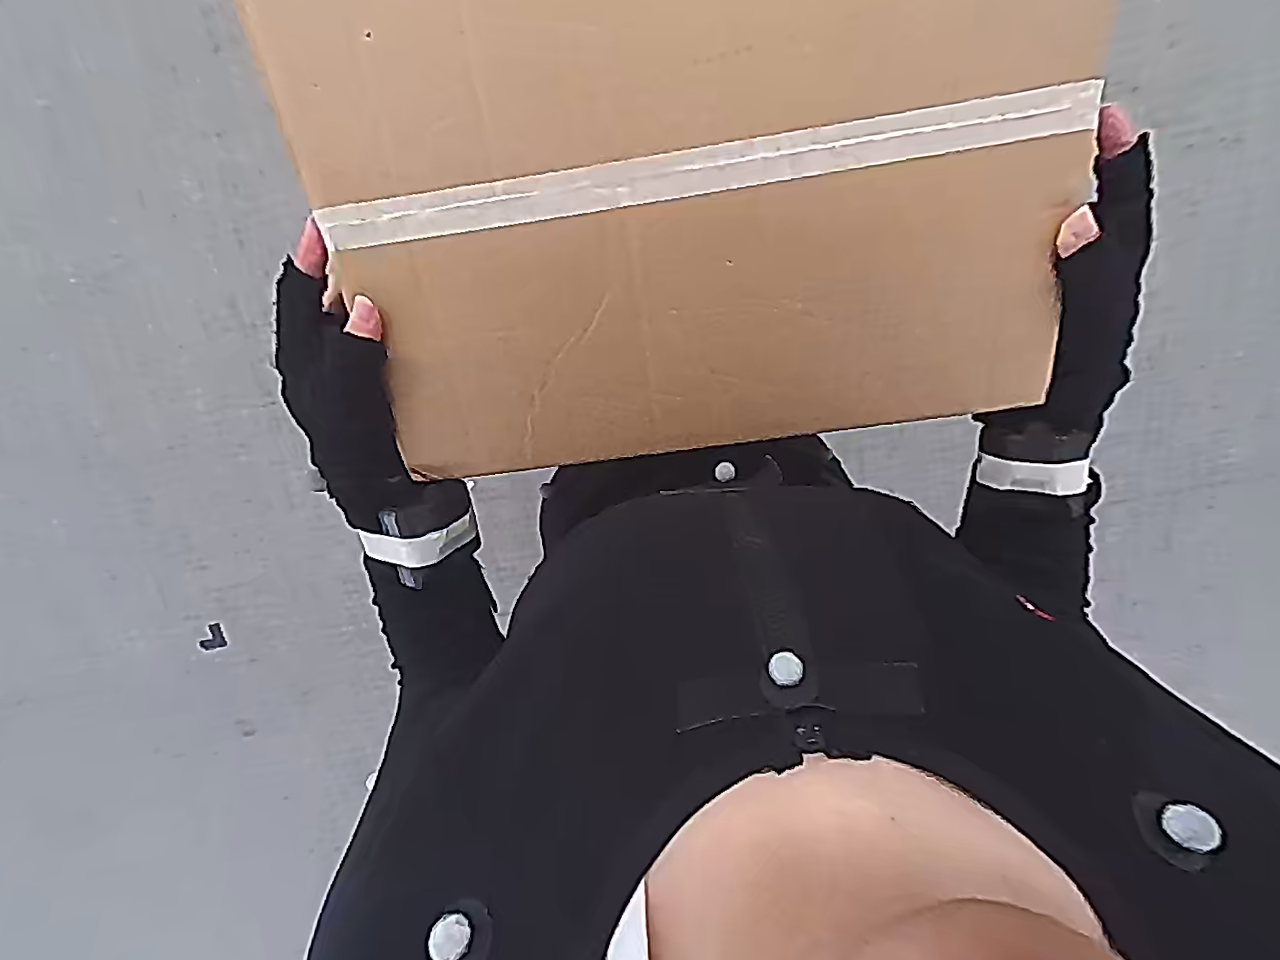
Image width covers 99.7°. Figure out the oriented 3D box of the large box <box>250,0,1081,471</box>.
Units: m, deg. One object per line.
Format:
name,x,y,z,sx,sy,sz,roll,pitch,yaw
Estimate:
large box,0.023,-0.233,0.426,0.408,0.320,0.320,-7,115,3
